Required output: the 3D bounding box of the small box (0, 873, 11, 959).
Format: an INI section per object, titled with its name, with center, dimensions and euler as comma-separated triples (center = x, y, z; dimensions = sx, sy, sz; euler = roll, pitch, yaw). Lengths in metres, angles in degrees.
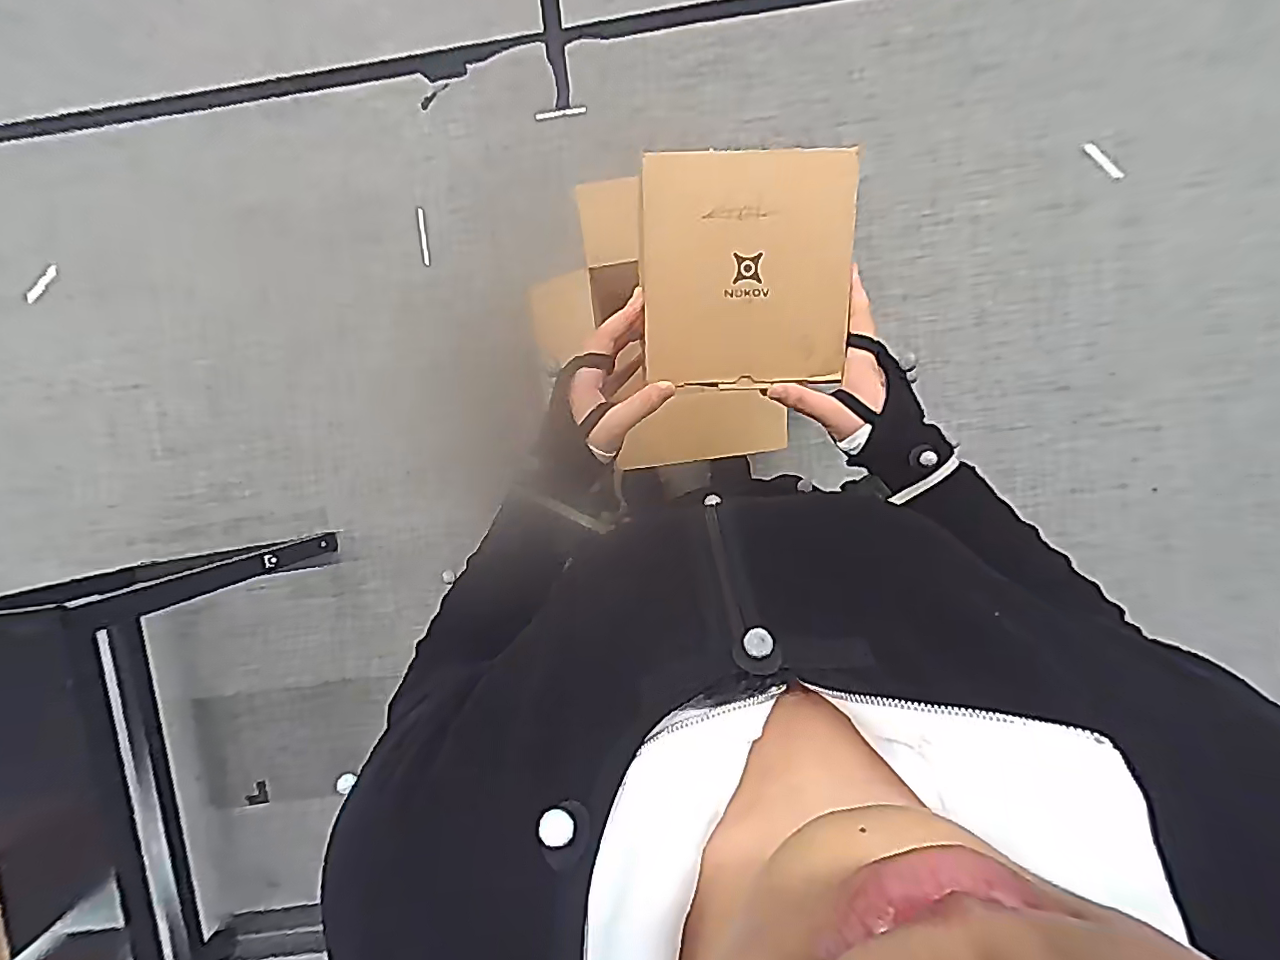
[small box]
center = -1.078, 0.678, 0.774
dimensions = 0.168, 0.176, 0.179
euler = -6, 95, 2
